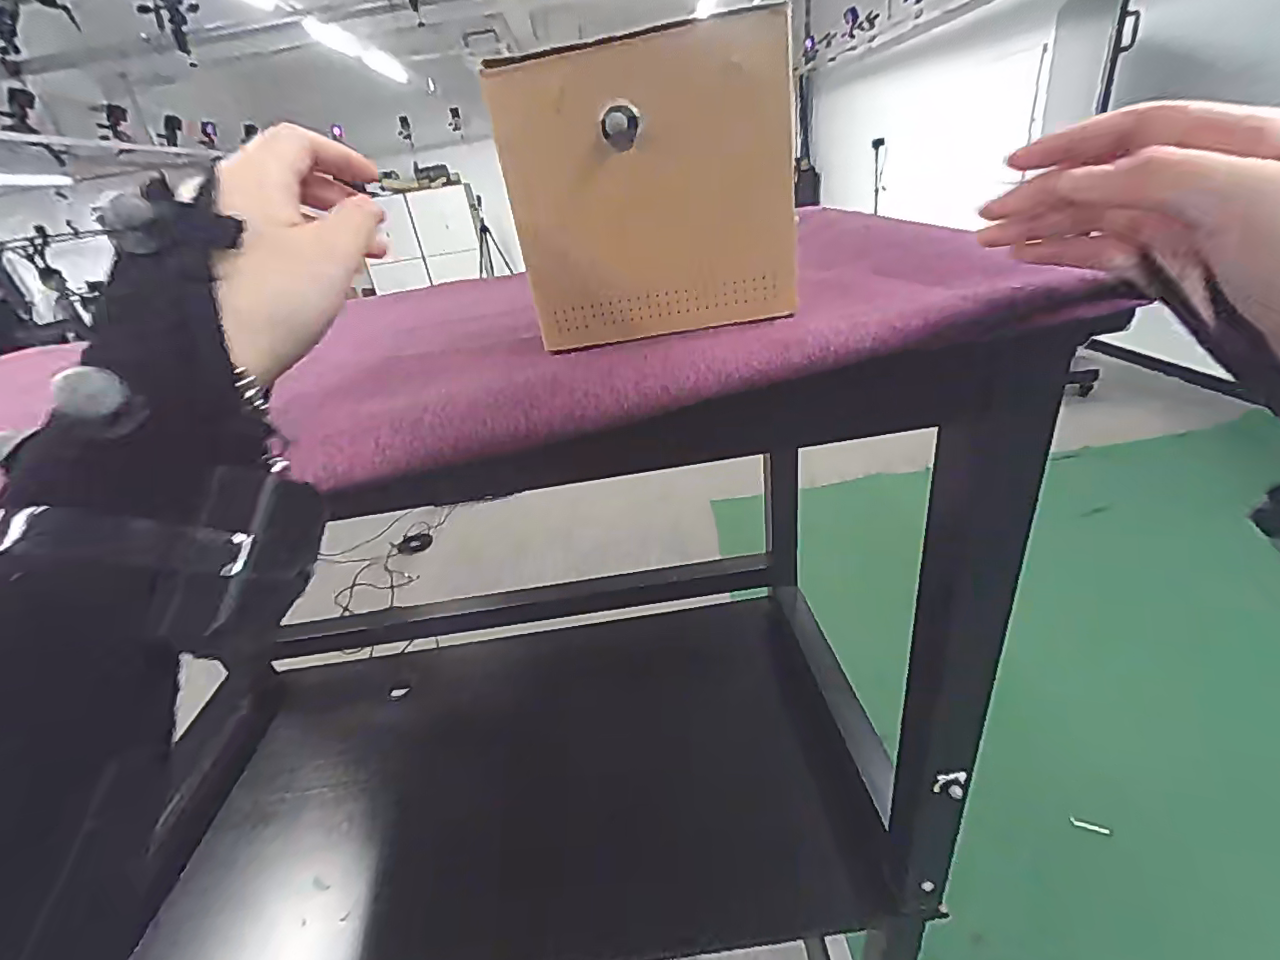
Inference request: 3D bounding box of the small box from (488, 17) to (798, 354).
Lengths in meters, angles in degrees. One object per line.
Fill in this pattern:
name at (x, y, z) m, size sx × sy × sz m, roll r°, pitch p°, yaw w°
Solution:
small box at (0.014, -0.200, 0.406) m, size 0.179 × 0.176 × 0.168 m, roll -6°, pitch 27°, yaw 7°
